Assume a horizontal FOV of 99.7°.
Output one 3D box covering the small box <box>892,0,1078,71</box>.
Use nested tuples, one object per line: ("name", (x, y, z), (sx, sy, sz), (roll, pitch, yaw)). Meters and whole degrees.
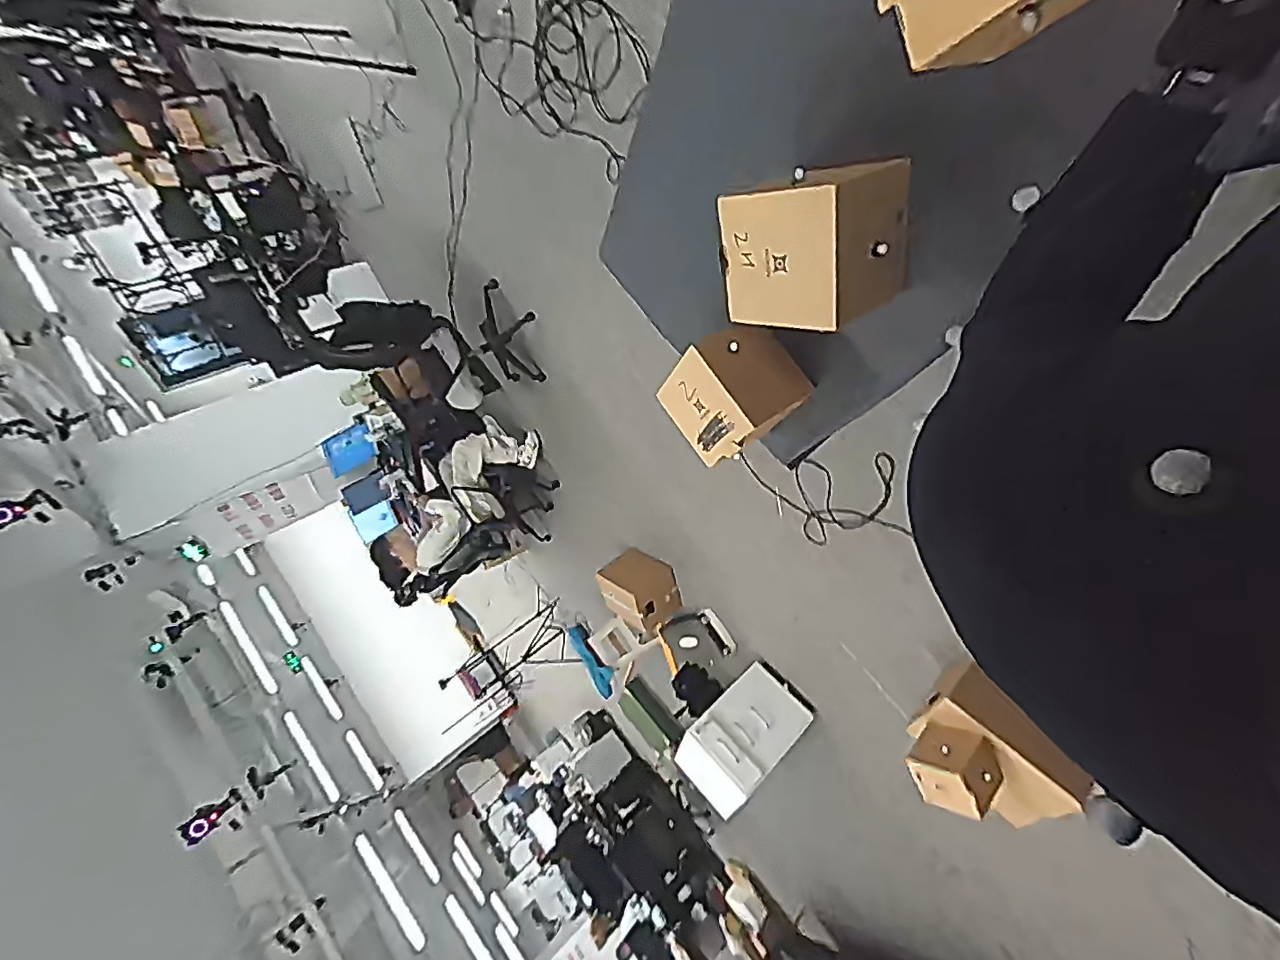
("small box", (0.319, -0.480, 0.436), (0.179, 0.176, 0.168), (-1, 117, 58))

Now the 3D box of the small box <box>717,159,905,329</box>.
("small box", (0.231, -0.317, 0.727), (0.179, 0.176, 0.168), (24, 136, 45))

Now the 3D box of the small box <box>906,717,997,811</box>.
("small box", (0.962, 0.859, 1.659), (0.179, 0.176, 0.168), (-16, 105, 57))
